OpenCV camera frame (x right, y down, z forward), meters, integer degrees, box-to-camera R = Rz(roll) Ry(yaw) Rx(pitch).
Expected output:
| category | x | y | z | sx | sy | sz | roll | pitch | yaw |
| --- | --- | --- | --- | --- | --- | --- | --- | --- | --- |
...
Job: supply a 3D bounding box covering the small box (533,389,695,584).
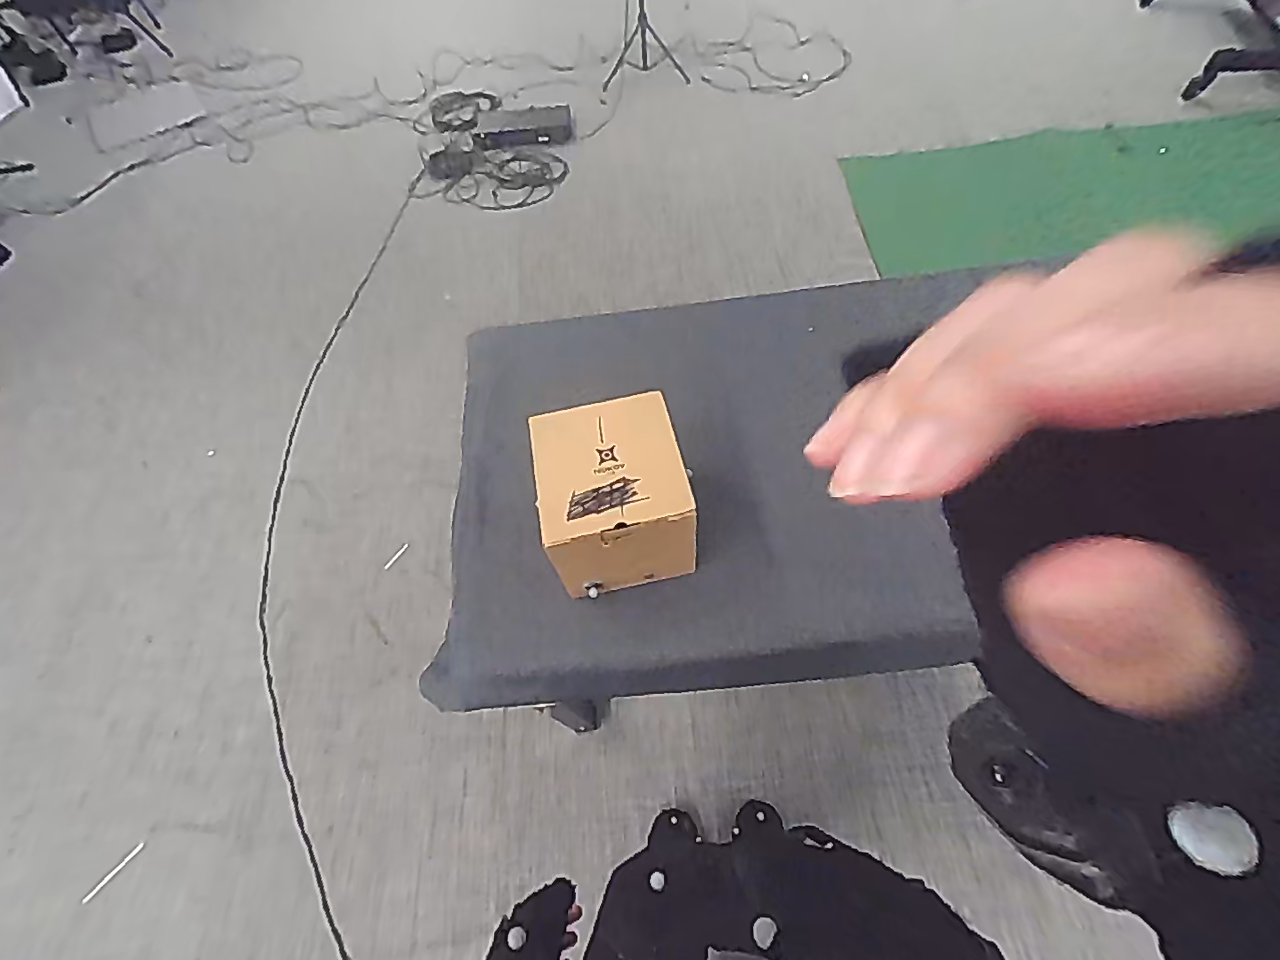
| category | x | y | z | sx | sy | sz | roll | pitch | yaw |
| --- | --- | --- | --- | --- | --- | --- | --- | --- | --- |
| small box | -0.028 | 0.017 | 0.681 | 0.168 | 0.176 | 0.179 | -12 | 58 | -2 |
